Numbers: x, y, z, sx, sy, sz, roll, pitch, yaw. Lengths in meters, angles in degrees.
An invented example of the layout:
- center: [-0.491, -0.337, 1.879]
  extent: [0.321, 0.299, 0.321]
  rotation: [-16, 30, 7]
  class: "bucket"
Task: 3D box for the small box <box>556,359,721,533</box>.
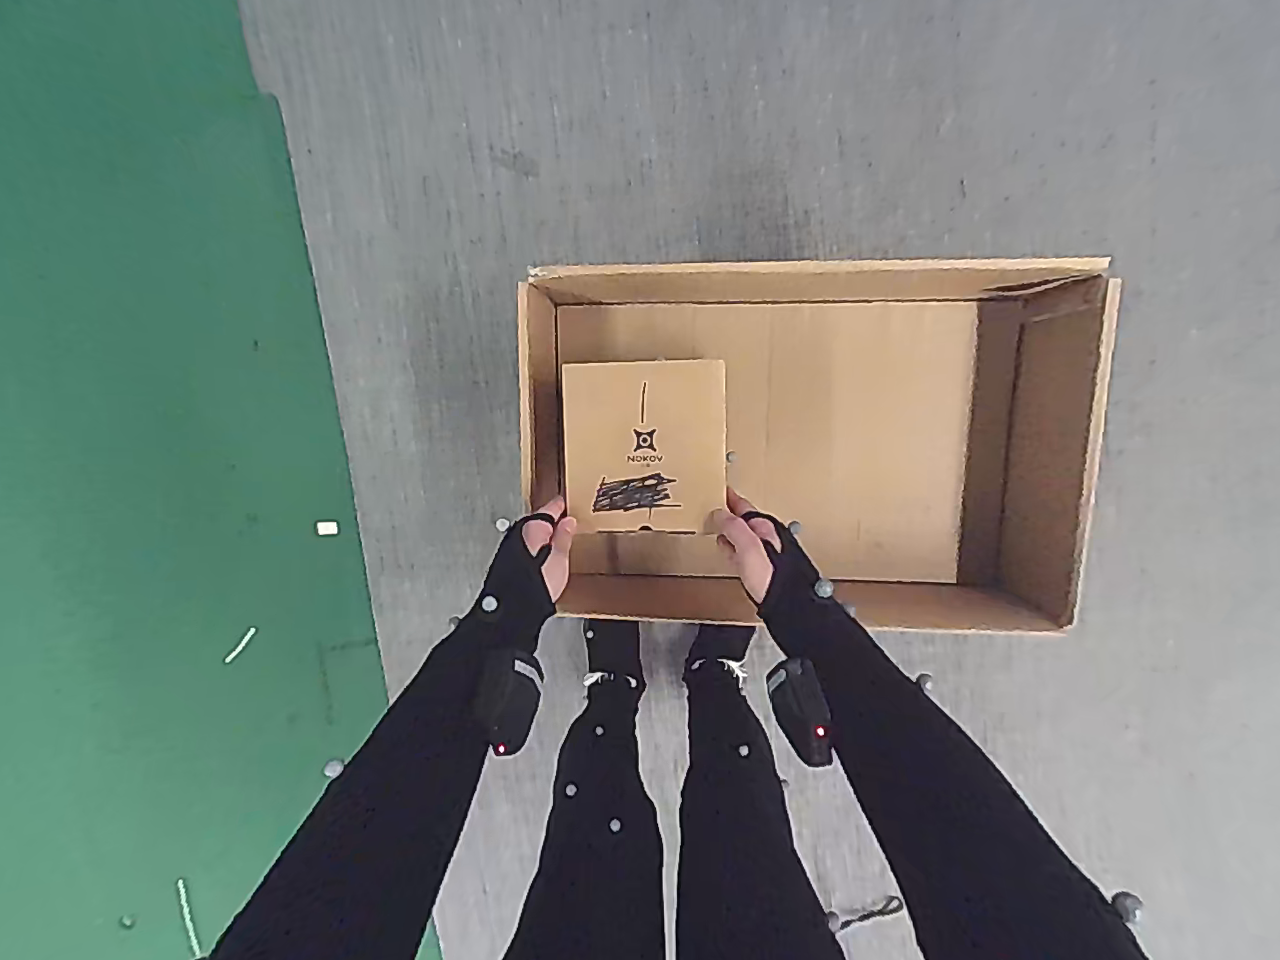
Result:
- center: [0.010, -0.042, 0.627]
  extent: [0.168, 0.176, 0.179]
  rotation: [-1, 97, 9]
  class: "small box"
